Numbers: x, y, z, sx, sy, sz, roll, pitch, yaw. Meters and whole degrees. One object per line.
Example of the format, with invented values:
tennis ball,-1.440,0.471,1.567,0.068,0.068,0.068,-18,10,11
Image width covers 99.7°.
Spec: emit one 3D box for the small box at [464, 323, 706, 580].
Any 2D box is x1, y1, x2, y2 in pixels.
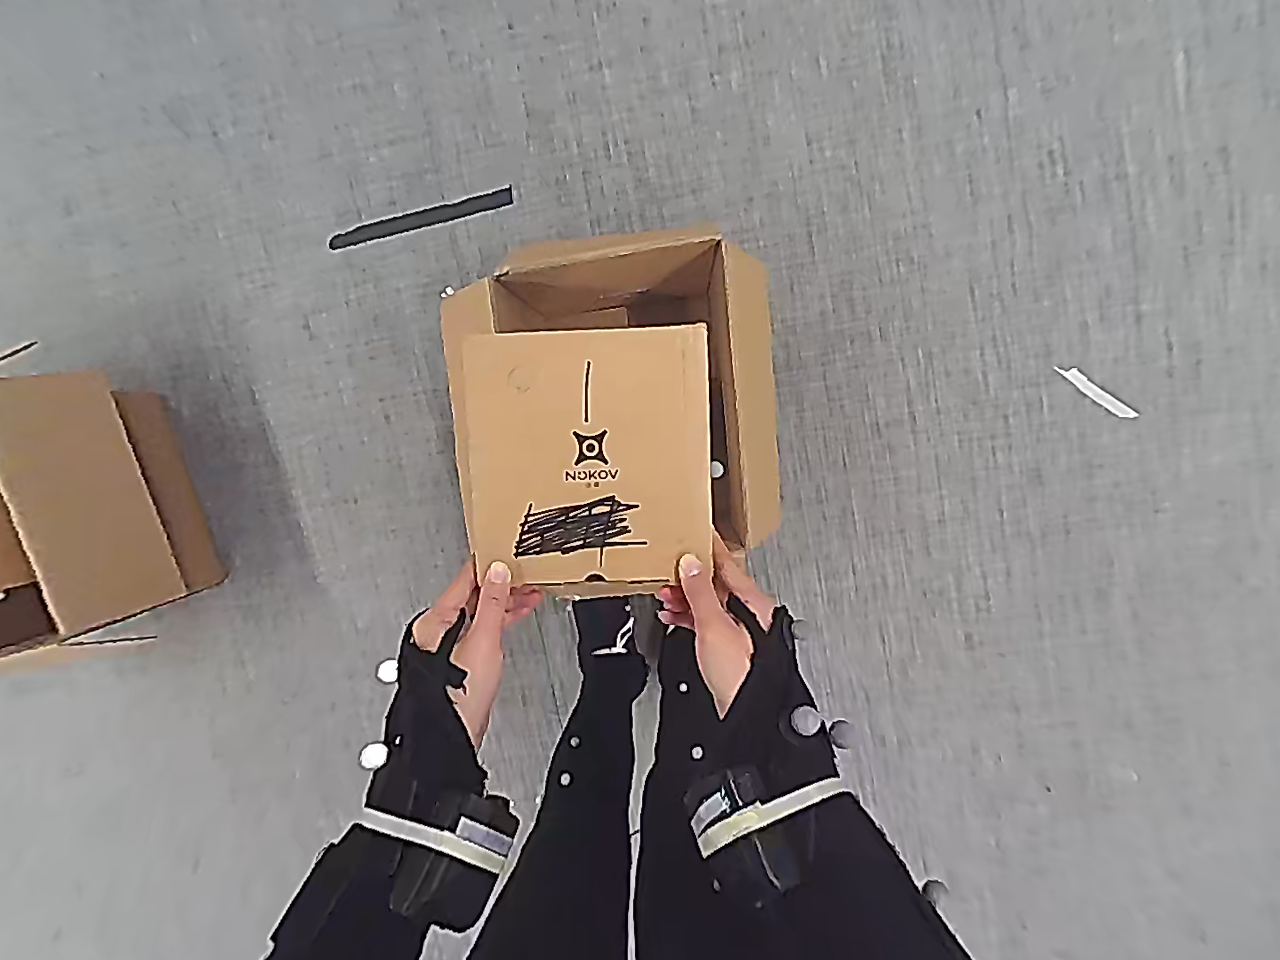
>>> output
small box,-0.034,-0.025,0.451,0.168,0.176,0.179,-2,95,1
